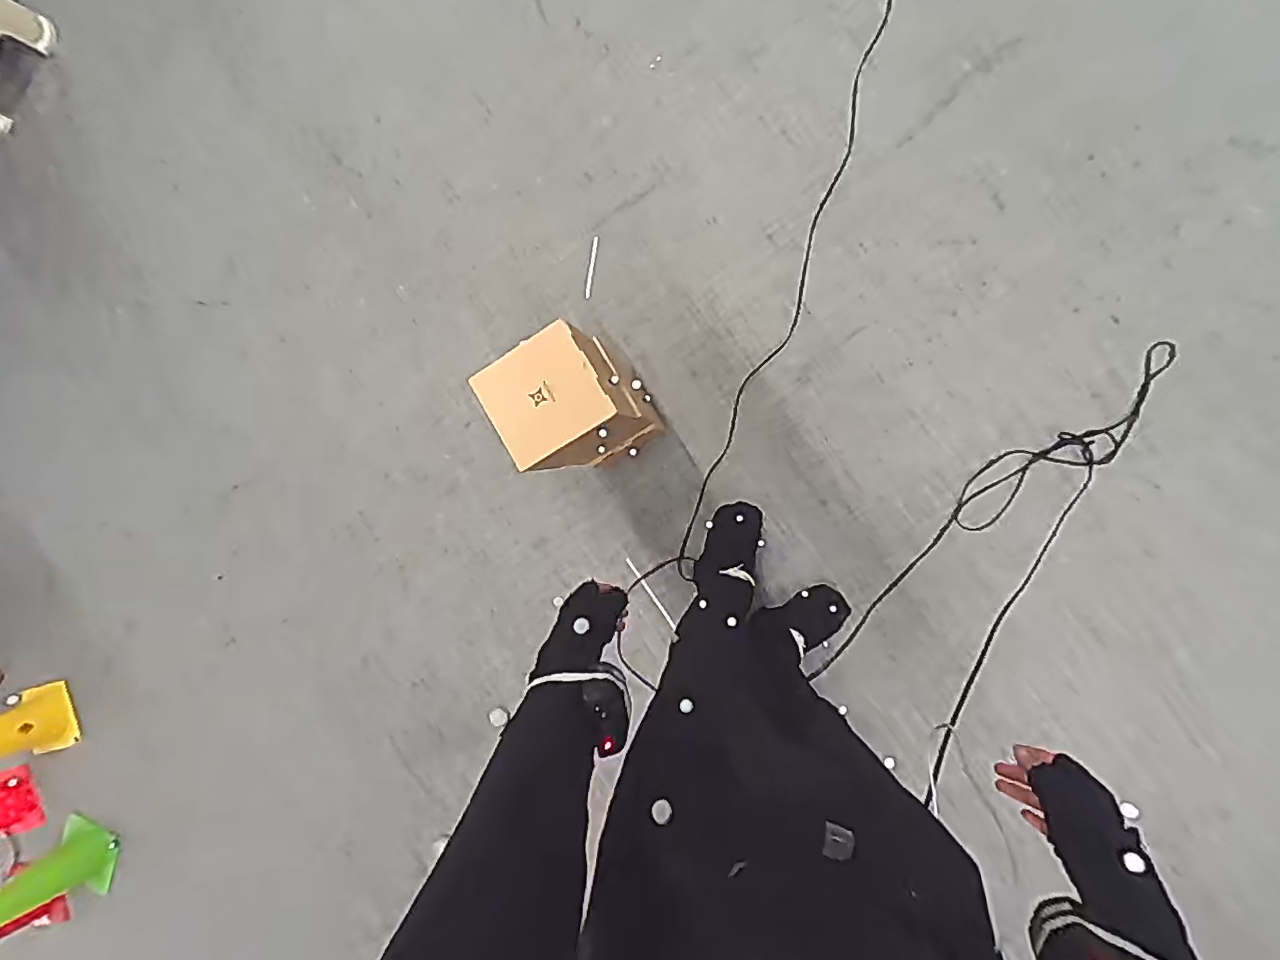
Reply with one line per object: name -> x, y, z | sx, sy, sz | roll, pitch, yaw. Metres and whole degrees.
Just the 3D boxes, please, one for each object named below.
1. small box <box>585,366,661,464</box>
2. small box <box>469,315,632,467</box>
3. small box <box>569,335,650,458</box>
small box -> -0.068, -0.153, 1.194 | 0.168, 0.176, 0.179 | -31, 89, 10
small box -> -0.134, -0.133, 0.874 | 0.179, 0.176, 0.168 | -31, 88, 10
small box -> -0.100, -0.147, 1.033 | 0.179, 0.176, 0.168 | -30, 89, 10
